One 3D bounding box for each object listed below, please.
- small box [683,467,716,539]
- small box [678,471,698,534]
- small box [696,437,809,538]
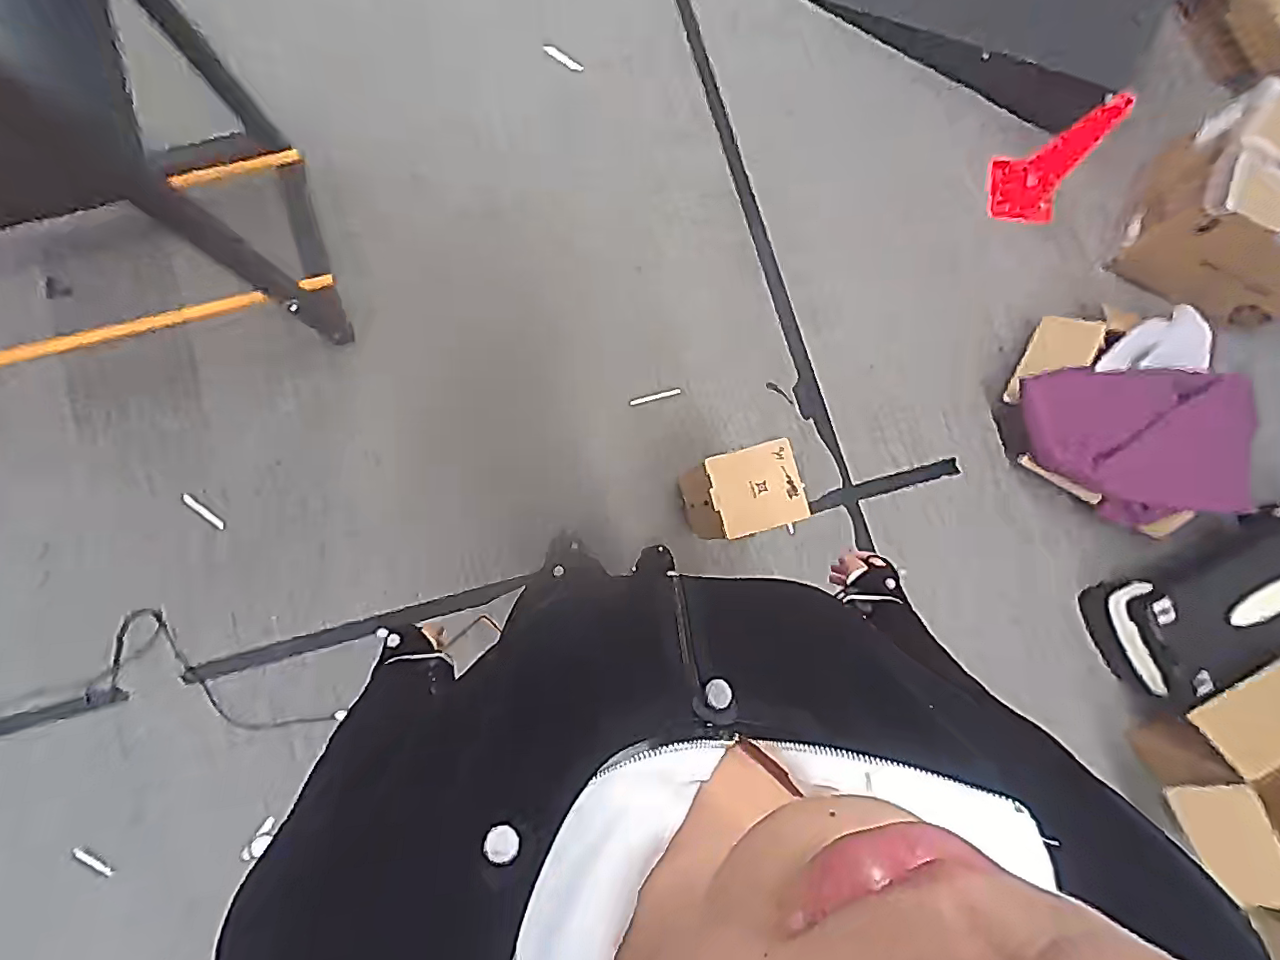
[{"bbox_3d":[0.215,0.040,1.289,0.179,0.176,0.168,-15,84,-4],"label":"small box"},{"bbox_3d":[0.212,0.046,1.455,0.179,0.176,0.168,-16,84,-3],"label":"small box"},{"bbox_3d":[0.222,0.024,1.126,0.179,0.176,0.168,-15,85,-4],"label":"small box"}]
